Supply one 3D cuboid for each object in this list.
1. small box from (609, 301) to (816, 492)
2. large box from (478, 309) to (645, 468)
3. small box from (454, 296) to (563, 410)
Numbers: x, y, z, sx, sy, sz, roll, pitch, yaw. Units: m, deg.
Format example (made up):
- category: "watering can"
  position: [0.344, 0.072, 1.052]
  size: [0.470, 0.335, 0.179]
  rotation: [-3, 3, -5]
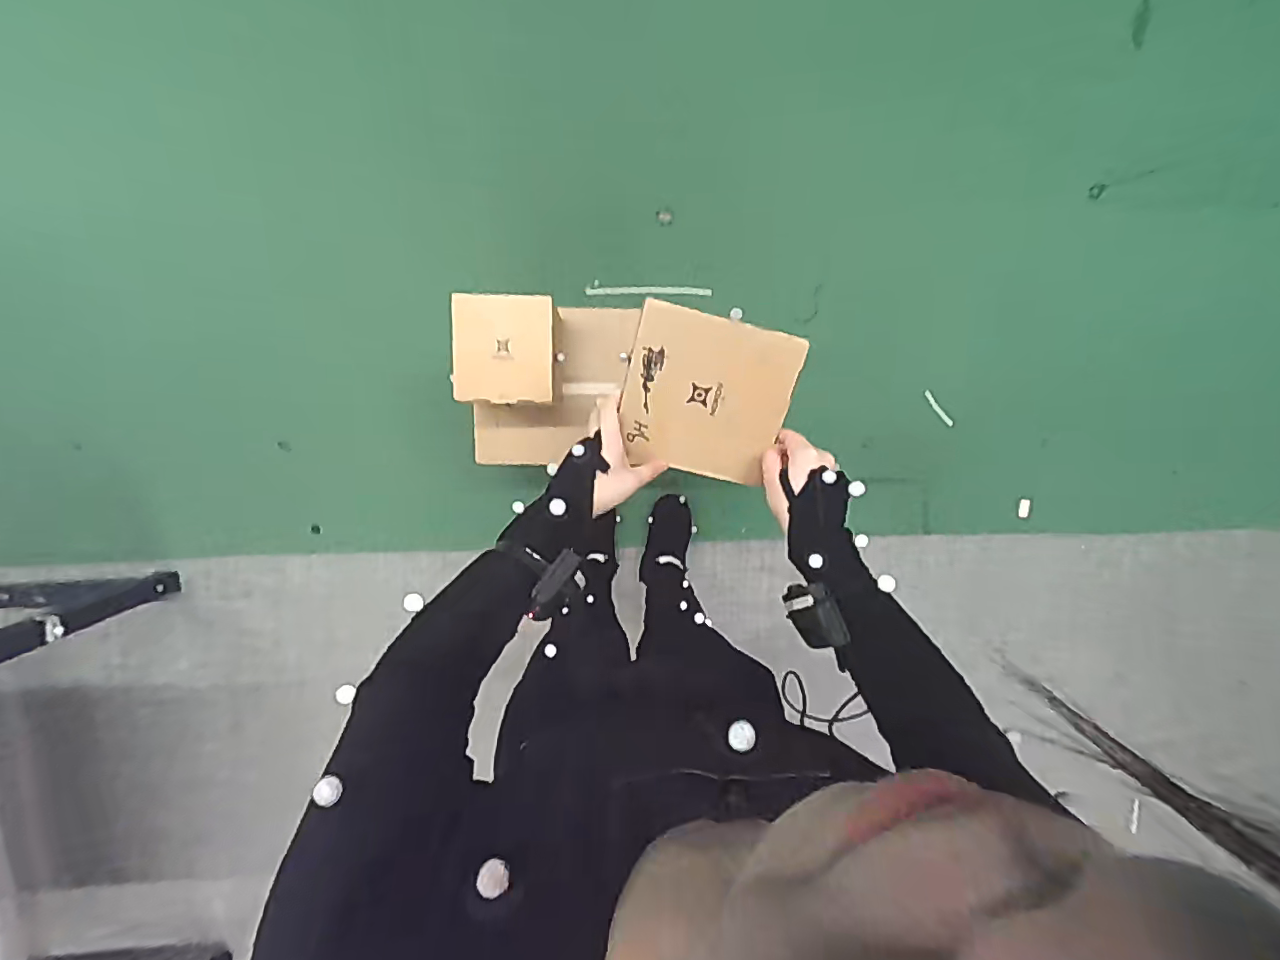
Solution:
- category: "small box"
  position: [0.071, -0.106, 0.624]
  size: [0.179, 0.176, 0.168]
  rotation: [14, 108, -4]
- category: "large box"
  position: [-0.132, -0.196, 1.220]
  size: [0.408, 0.320, 0.320]
  rotation: [0, 97, -3]
- category: "small box"
  position: [-0.228, -0.219, 0.968]
  size: [0.168, 0.176, 0.179]
  rotation: [0, 96, -3]
